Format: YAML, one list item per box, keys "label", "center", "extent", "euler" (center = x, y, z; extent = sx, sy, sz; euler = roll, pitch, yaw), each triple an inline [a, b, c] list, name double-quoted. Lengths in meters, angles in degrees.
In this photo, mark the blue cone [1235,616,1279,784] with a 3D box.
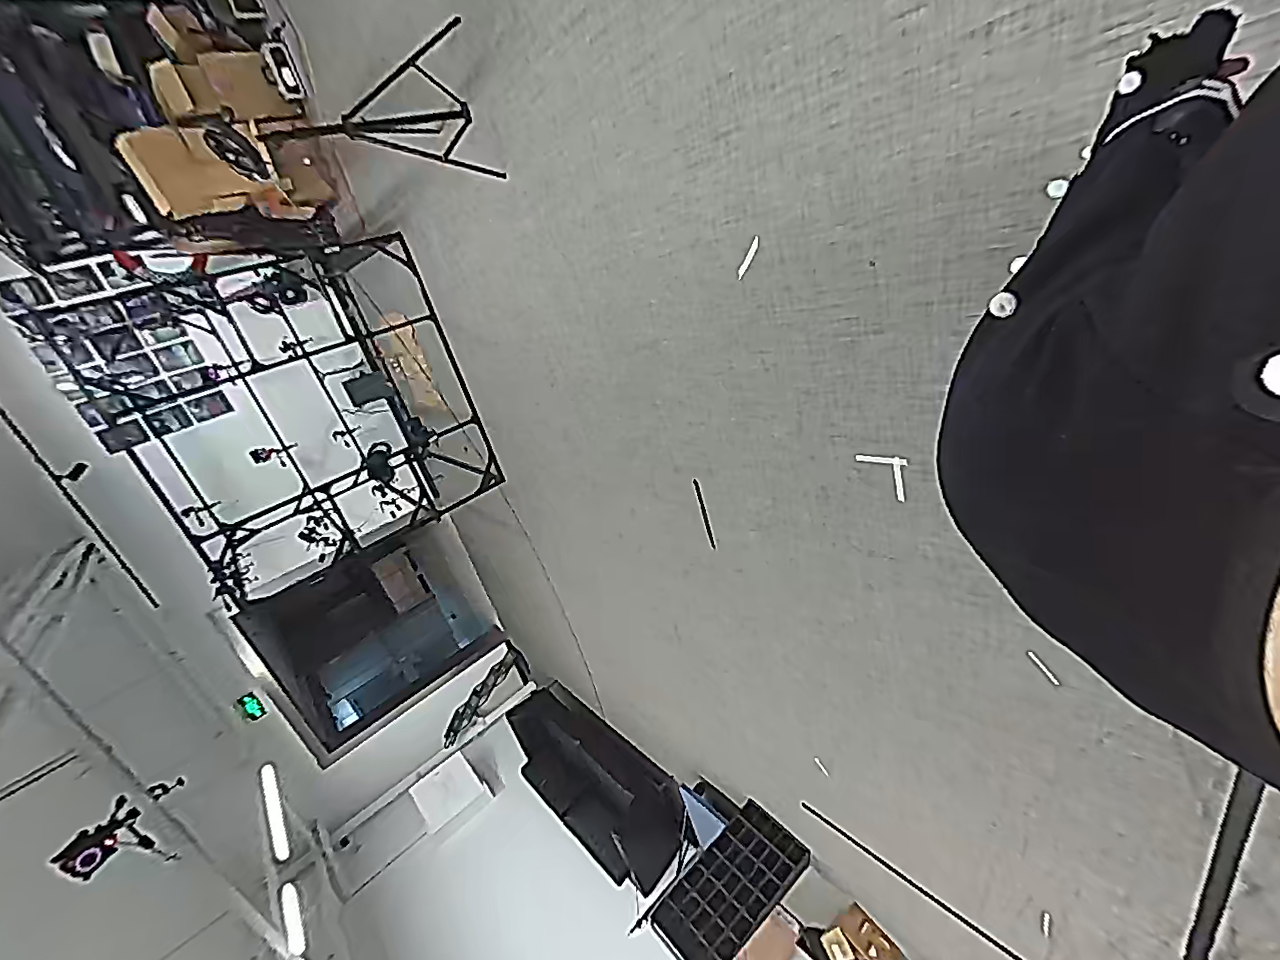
- label: "blue cone"
  center: [1.331, 0.472, 1.086]
  extent: [0.192, 0.380, 0.193]
  euler: [31, 140, 39]
